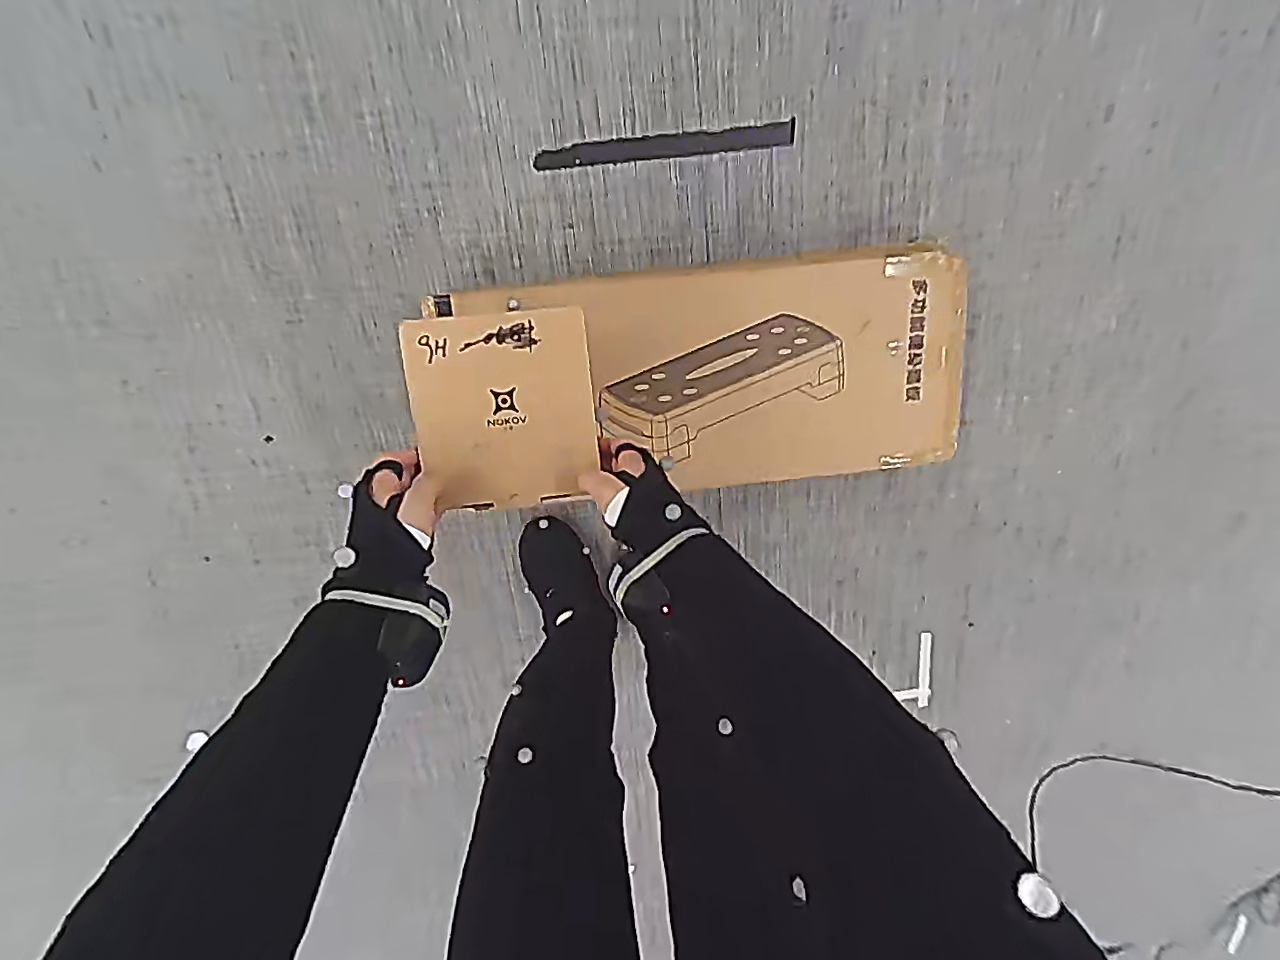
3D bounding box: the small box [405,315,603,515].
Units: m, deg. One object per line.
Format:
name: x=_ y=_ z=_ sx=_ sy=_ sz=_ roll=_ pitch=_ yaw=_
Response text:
small box: x=-0.128 y=-0.073 z=0.579 sx=0.168 sy=0.176 sz=0.179 roll=-6 pitch=101 yaw=-5
